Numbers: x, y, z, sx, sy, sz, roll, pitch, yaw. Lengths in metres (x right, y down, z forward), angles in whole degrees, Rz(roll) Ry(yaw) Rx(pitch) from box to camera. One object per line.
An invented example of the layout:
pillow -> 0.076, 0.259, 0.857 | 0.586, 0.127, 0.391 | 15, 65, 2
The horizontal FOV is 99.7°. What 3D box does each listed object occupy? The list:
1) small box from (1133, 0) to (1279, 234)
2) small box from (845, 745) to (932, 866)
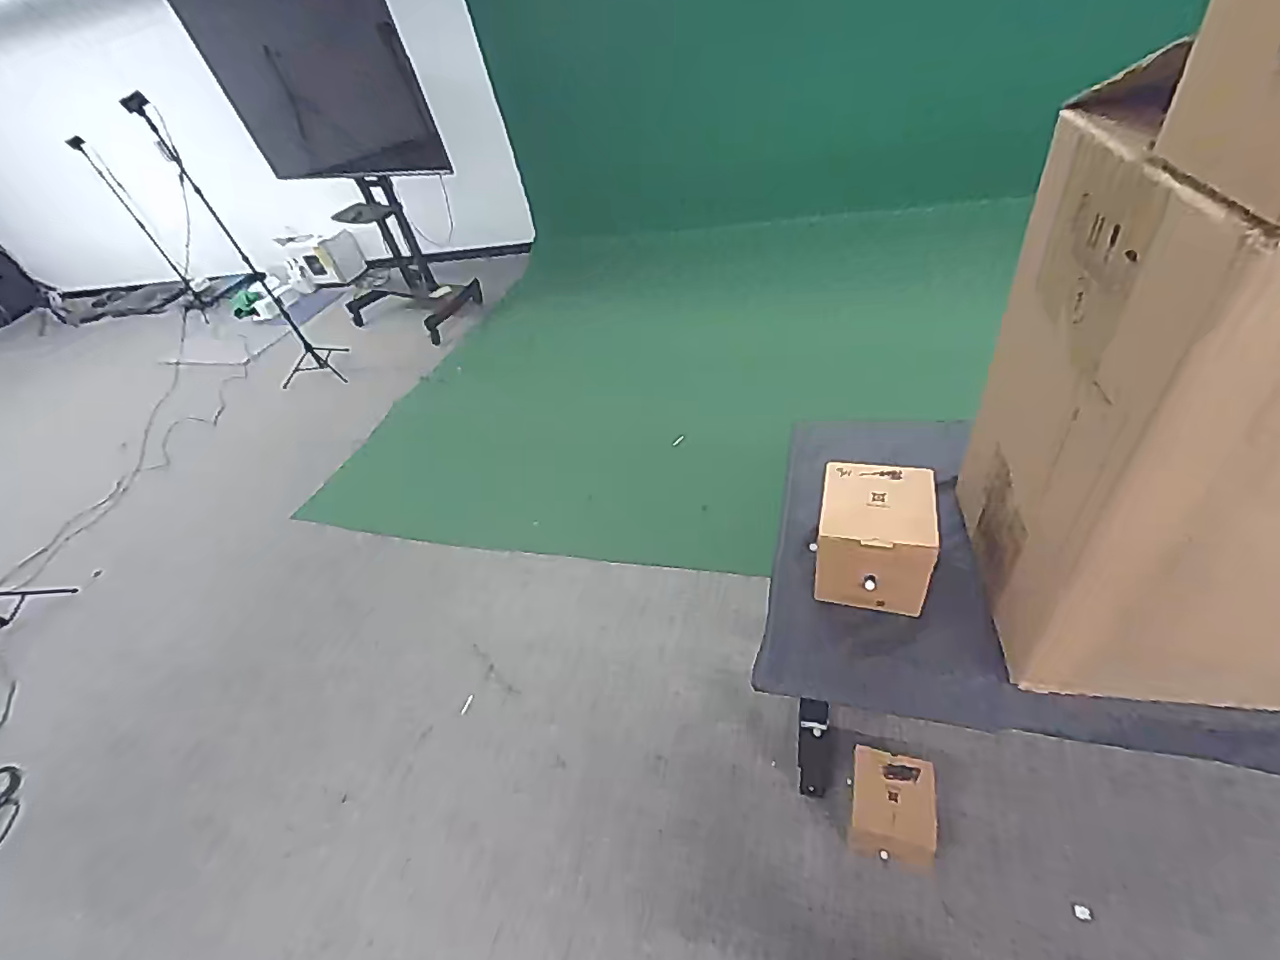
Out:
small box -> 0.472, -0.269, 0.341 | 0.168, 0.176, 0.179 | 0, 43, 16
small box -> 0.571, 0.752, 1.251 | 0.168, 0.176, 0.179 | 5, 47, 22
